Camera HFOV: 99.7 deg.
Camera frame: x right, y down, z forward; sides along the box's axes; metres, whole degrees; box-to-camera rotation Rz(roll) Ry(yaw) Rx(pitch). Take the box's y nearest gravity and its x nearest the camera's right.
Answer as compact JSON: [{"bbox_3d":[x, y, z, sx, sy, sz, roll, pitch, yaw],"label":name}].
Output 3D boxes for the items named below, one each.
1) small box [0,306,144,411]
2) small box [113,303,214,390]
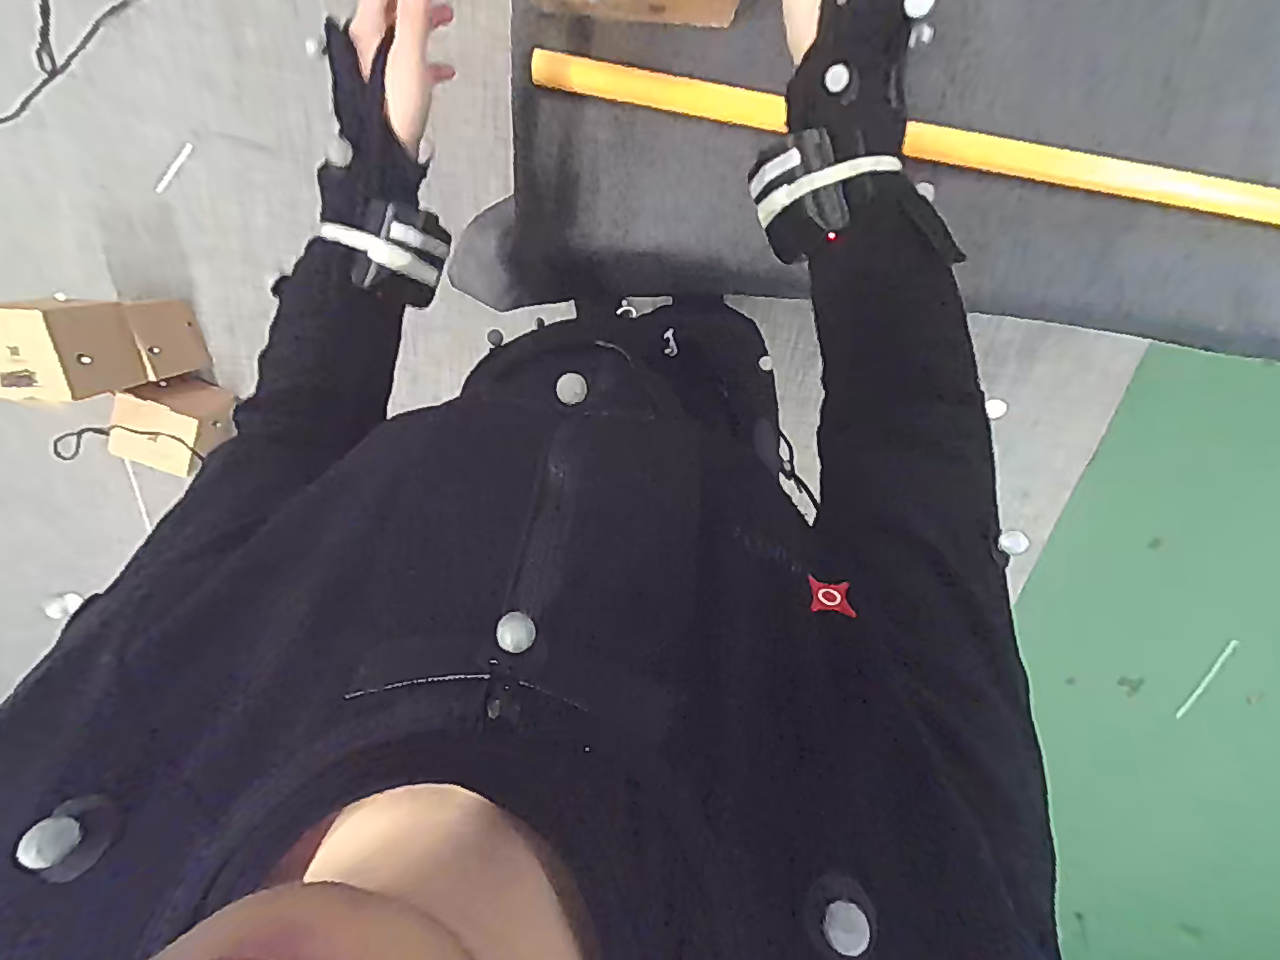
[{"bbox_3d":[-1.172,-0.251,1.097,0.168,0.176,0.179,3,113,1],"label":"small box"},{"bbox_3d":[-1.157,-0.310,1.254,0.179,0.176,0.168,-3,117,5],"label":"small box"}]
